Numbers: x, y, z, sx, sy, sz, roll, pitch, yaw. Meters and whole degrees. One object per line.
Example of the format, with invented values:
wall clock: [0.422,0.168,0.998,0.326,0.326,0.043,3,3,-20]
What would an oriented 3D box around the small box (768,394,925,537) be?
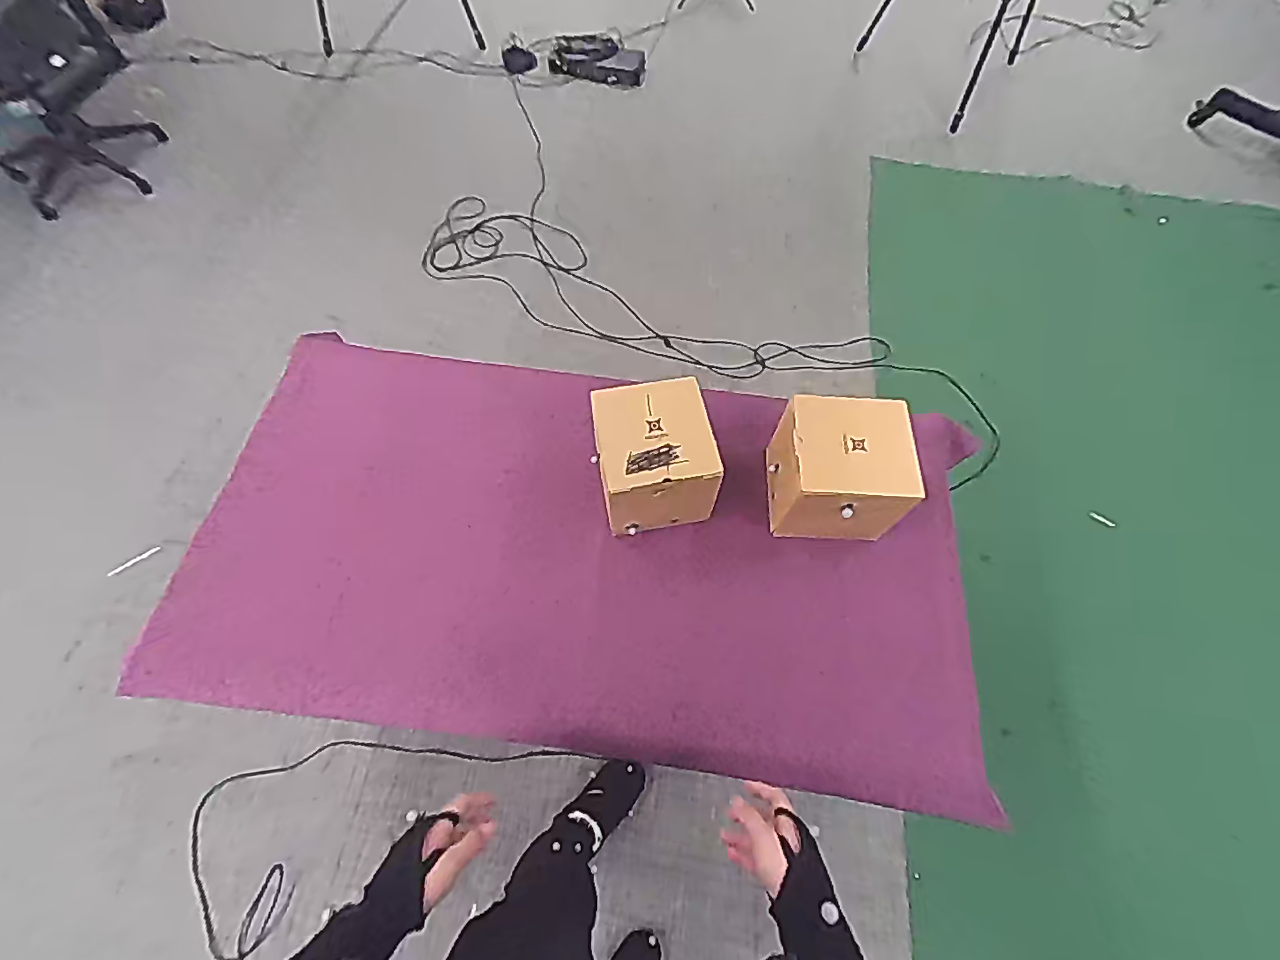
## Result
small box: [0.307,-0.015,0.843,0.179,0.176,0.168,2,64,2]

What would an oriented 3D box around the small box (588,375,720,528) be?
small box: [0.017,-0.035,0.847,0.168,0.176,0.179,-10,64,-6]
